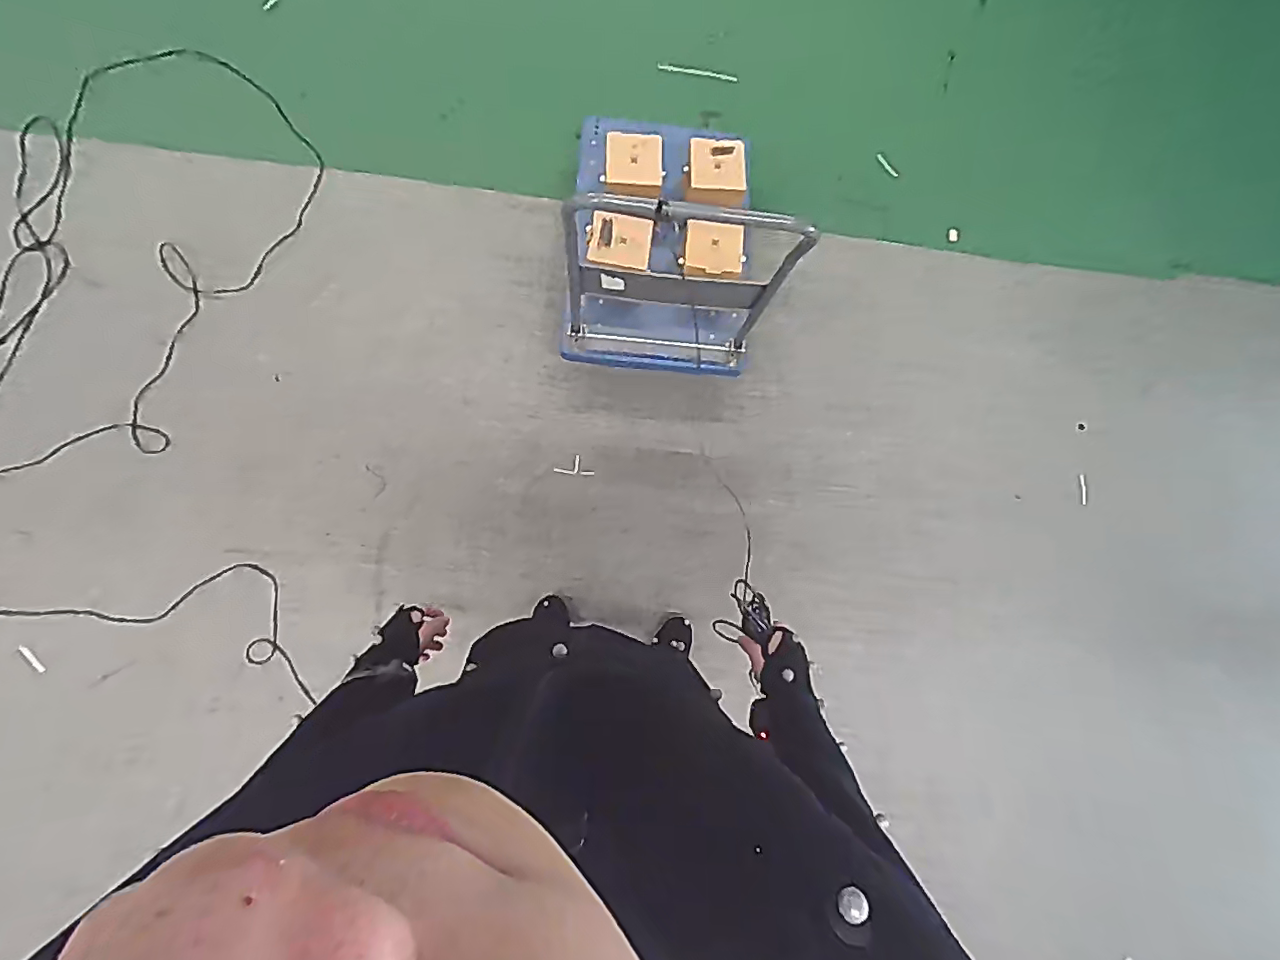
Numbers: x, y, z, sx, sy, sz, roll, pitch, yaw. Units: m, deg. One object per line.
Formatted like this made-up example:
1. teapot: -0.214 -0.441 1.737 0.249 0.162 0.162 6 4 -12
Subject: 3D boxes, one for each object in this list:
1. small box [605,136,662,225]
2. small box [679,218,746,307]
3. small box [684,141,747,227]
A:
1. small box: -0.021 -0.913 1.663 0.168 0.176 0.179 1 78 -5
2. small box: 0.213 -0.648 1.624 0.168 0.176 0.179 5 78 -3
3. small box: 0.230 -0.911 1.682 0.168 0.176 0.179 1 79 -4
